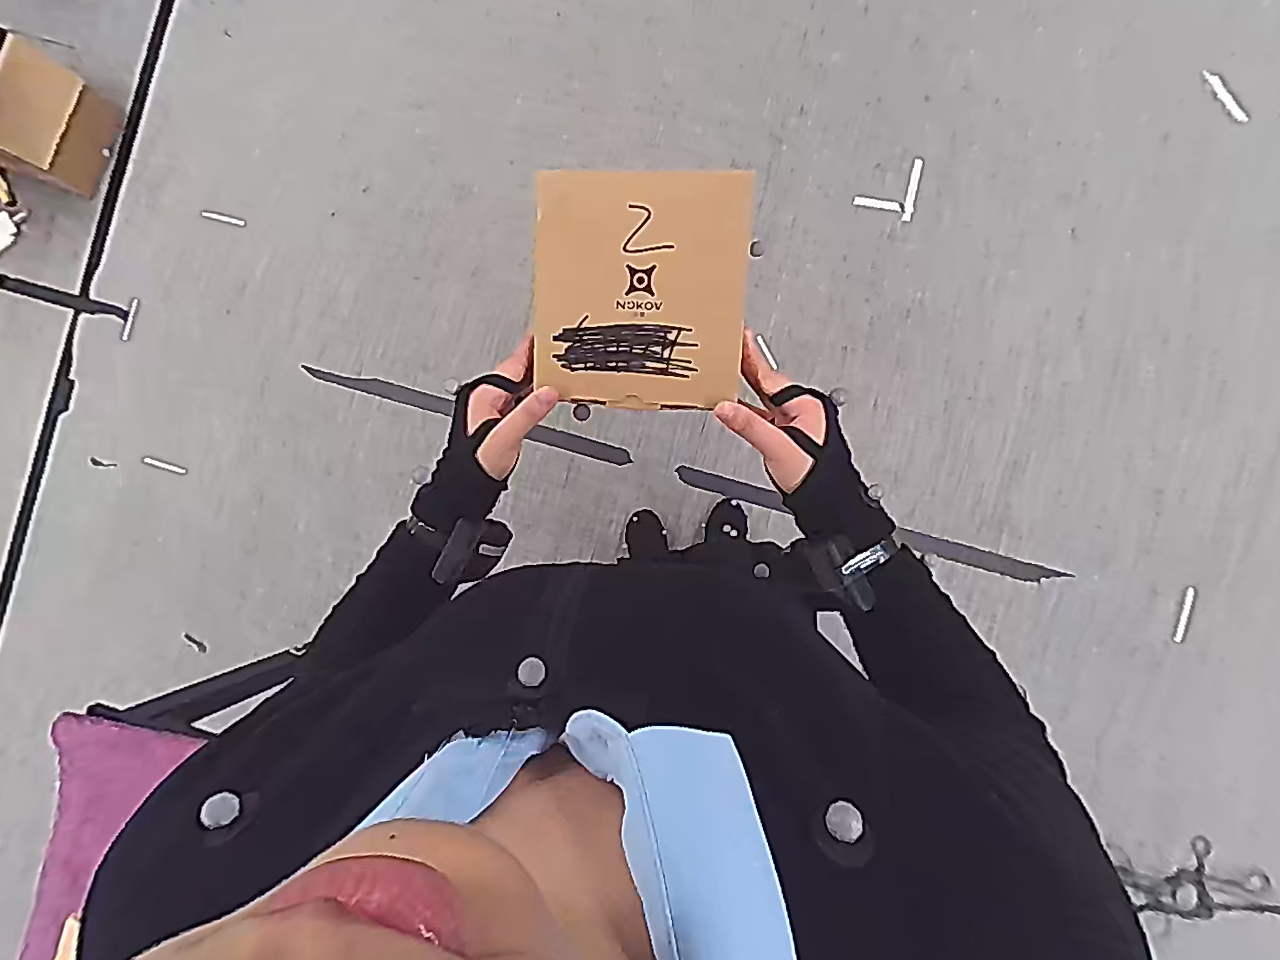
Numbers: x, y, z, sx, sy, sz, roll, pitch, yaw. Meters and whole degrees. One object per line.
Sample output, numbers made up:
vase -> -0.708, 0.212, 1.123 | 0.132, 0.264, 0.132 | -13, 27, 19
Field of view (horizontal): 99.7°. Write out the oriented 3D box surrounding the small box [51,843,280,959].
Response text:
small box -> -0.639, 0.641, 0.731 | 0.179, 0.176, 0.168 | 18, 91, 7

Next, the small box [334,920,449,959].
small box -> -0.355, 0.729, 0.694 | 0.179, 0.176, 0.168 | 22, 89, 7
